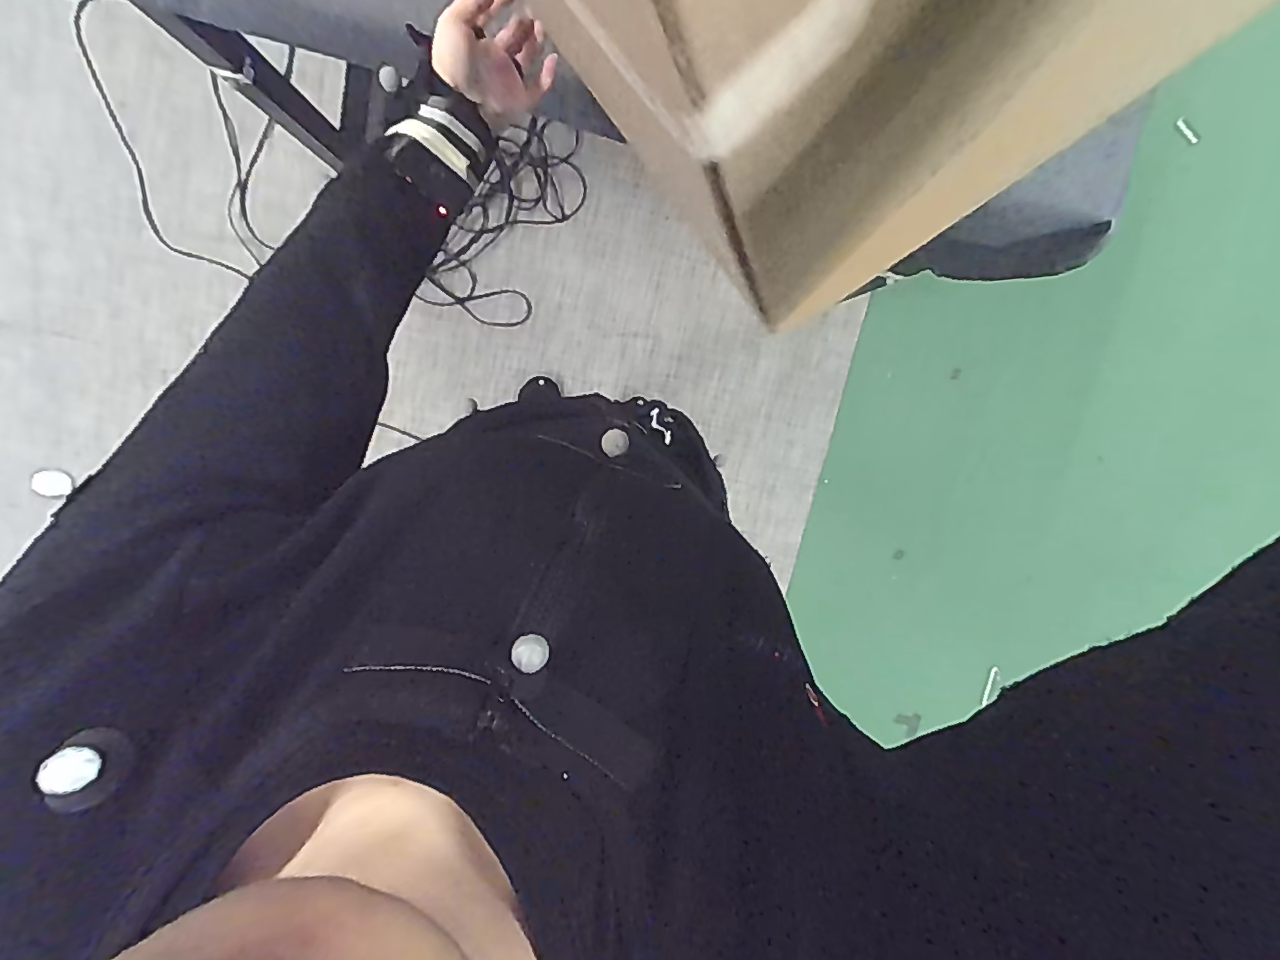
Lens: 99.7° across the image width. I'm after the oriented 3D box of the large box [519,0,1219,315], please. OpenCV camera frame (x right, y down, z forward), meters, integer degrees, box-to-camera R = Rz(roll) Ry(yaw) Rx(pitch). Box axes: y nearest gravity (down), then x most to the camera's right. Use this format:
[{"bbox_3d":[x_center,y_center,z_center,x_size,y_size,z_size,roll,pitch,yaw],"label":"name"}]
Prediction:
[{"bbox_3d":[0.052,-0.351,0.204,0.320,0.320,0.408,-36,70,12],"label":"large box"}]
